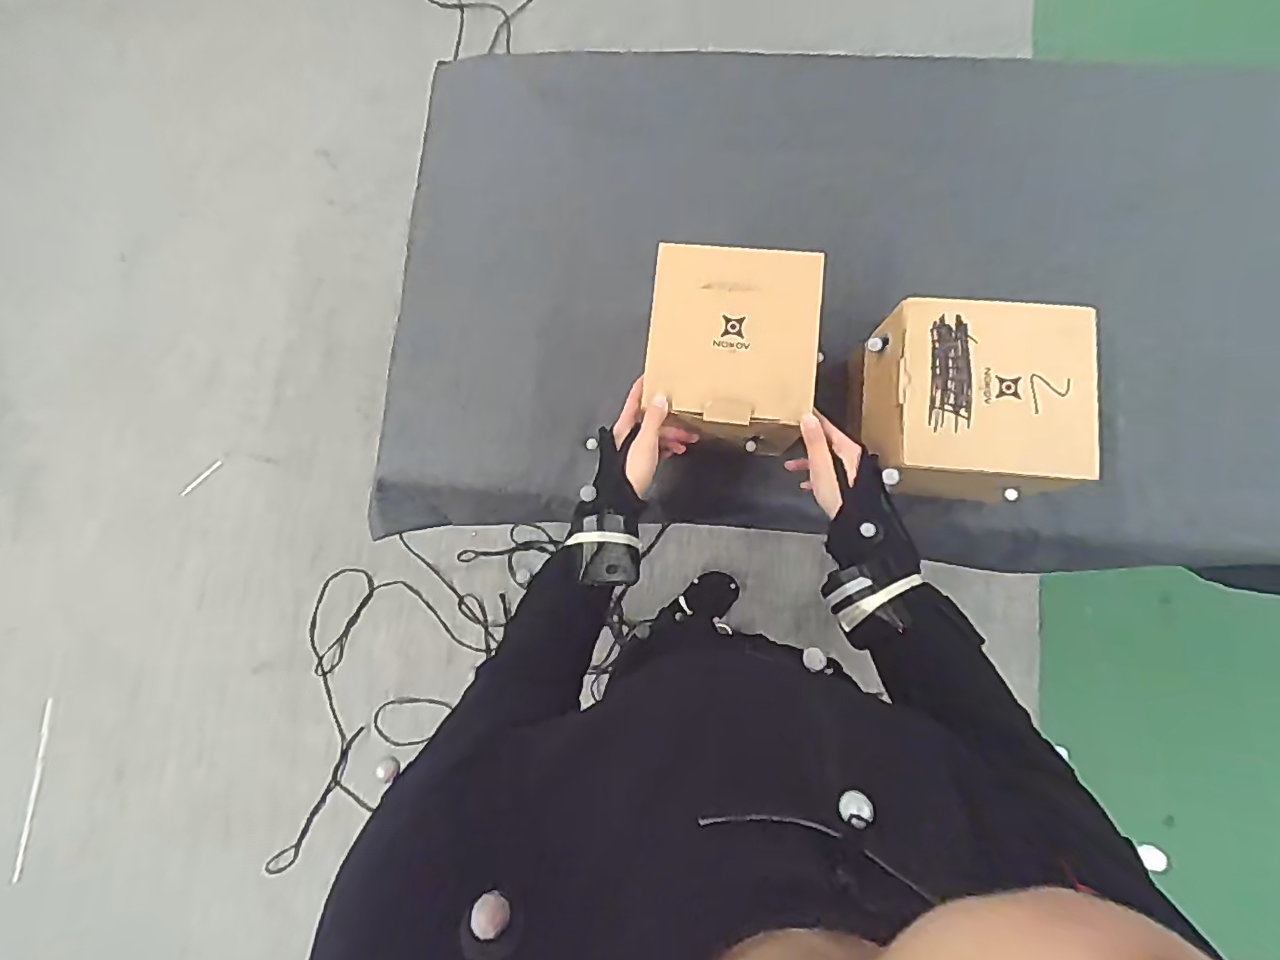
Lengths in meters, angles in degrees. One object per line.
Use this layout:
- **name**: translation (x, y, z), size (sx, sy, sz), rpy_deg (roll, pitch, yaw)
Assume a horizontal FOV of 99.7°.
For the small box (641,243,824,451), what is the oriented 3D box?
- **small box**: translation (0.095, -0.134, 0.603), size (0.168, 0.176, 0.179), rpy_deg (5, 82, 4)
